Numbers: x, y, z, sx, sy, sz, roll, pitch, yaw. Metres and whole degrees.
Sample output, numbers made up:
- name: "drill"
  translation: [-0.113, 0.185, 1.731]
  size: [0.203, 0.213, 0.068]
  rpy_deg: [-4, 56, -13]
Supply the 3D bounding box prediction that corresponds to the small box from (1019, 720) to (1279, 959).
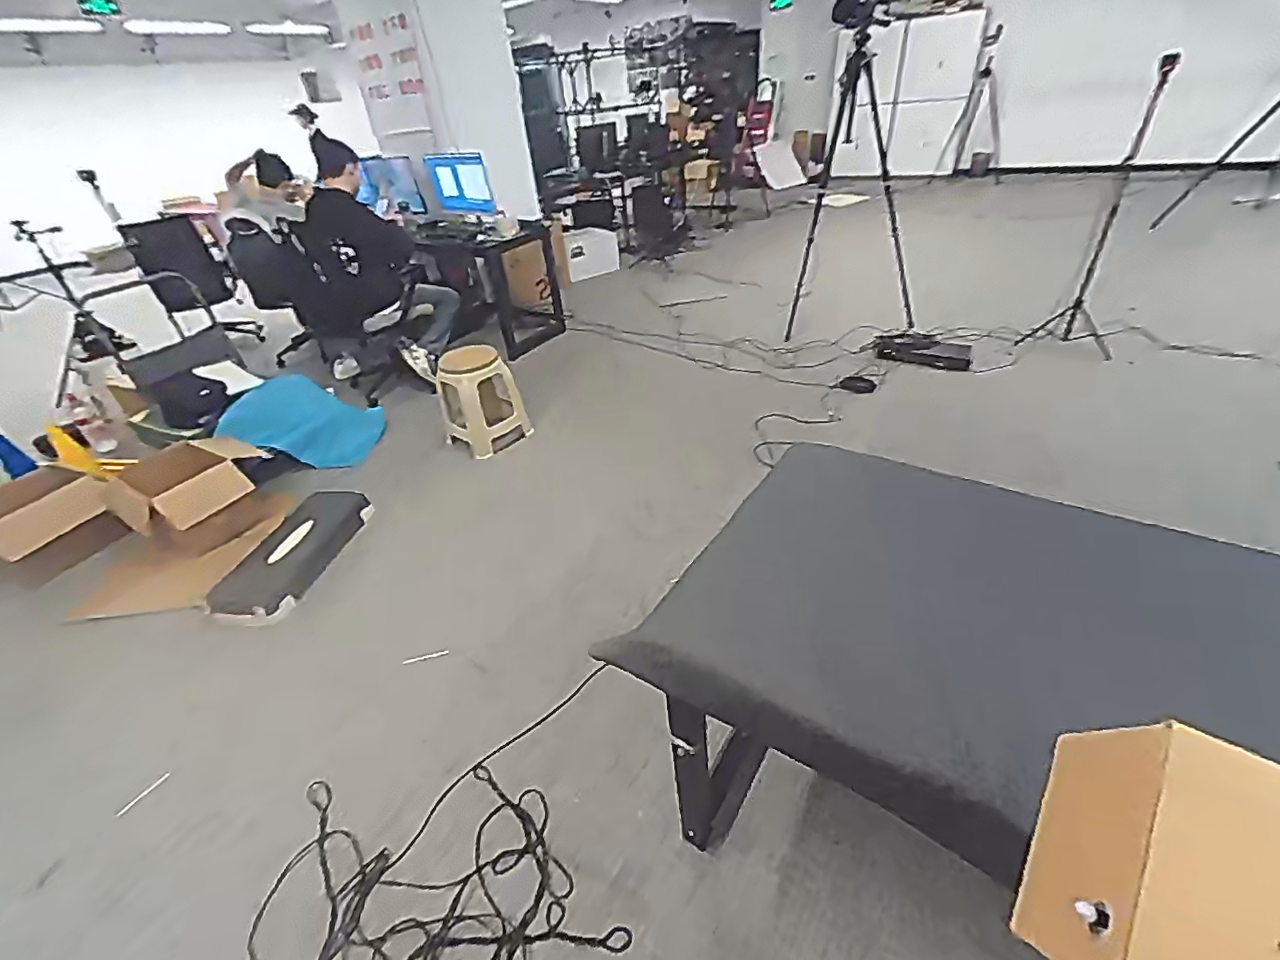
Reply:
- name: "small box"
  translation: [0.402, 0.293, 0.377]
  size: [0.168, 0.176, 0.179]
  rpy_deg: [22, 72, 22]
